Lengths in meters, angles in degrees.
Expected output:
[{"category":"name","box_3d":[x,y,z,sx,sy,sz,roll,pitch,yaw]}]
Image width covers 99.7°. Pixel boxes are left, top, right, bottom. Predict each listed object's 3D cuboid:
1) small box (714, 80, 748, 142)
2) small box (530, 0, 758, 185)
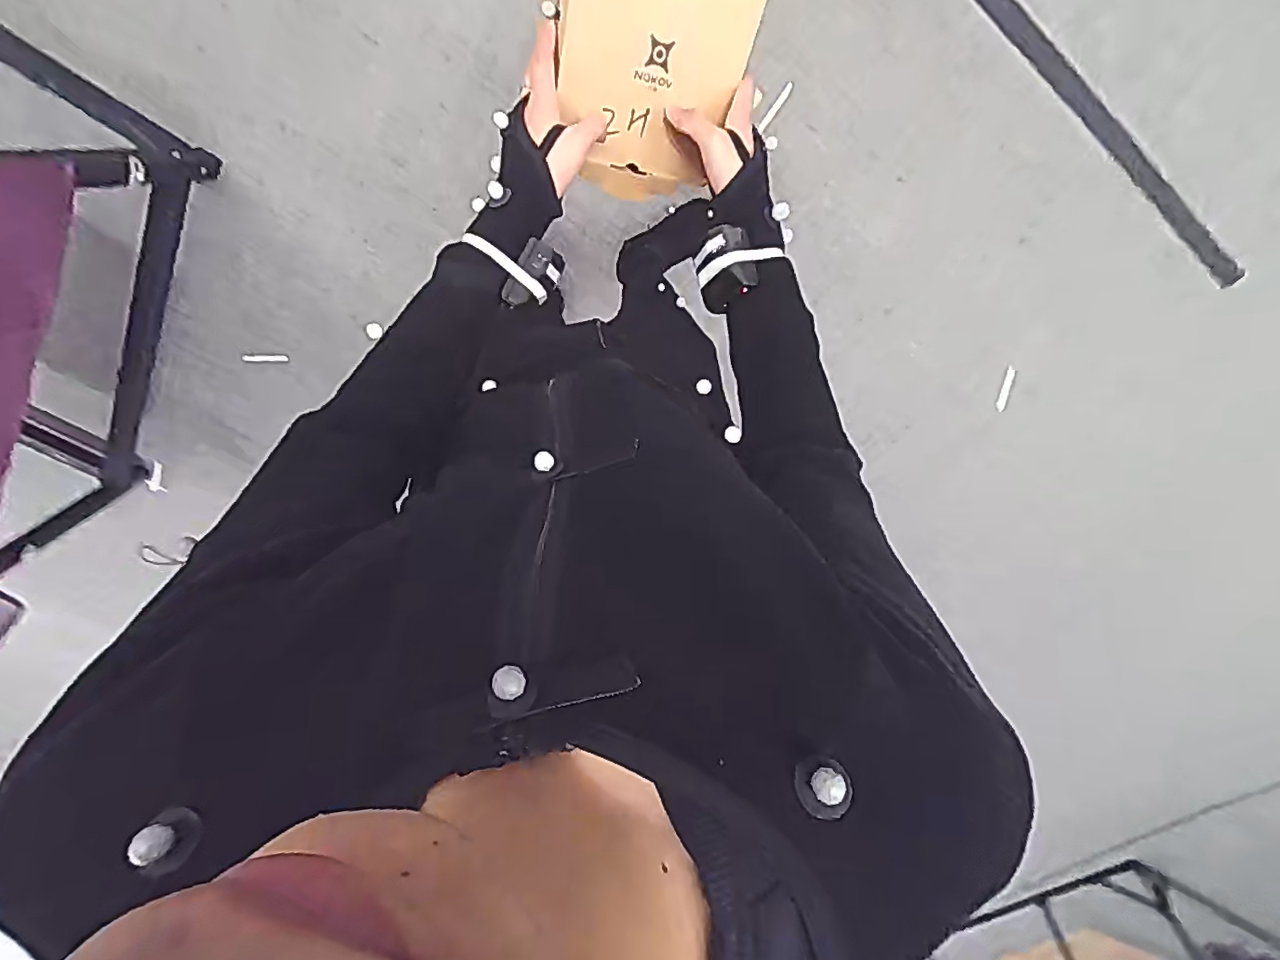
[{"category":"small box","box_3d":[0.112,-0.817,1.185,0.168,0.176,0.179,36,117,-18]},{"category":"small box","box_3d":[-0.011,-0.423,0.523,0.168,0.176,0.179,1,136,-20]}]
